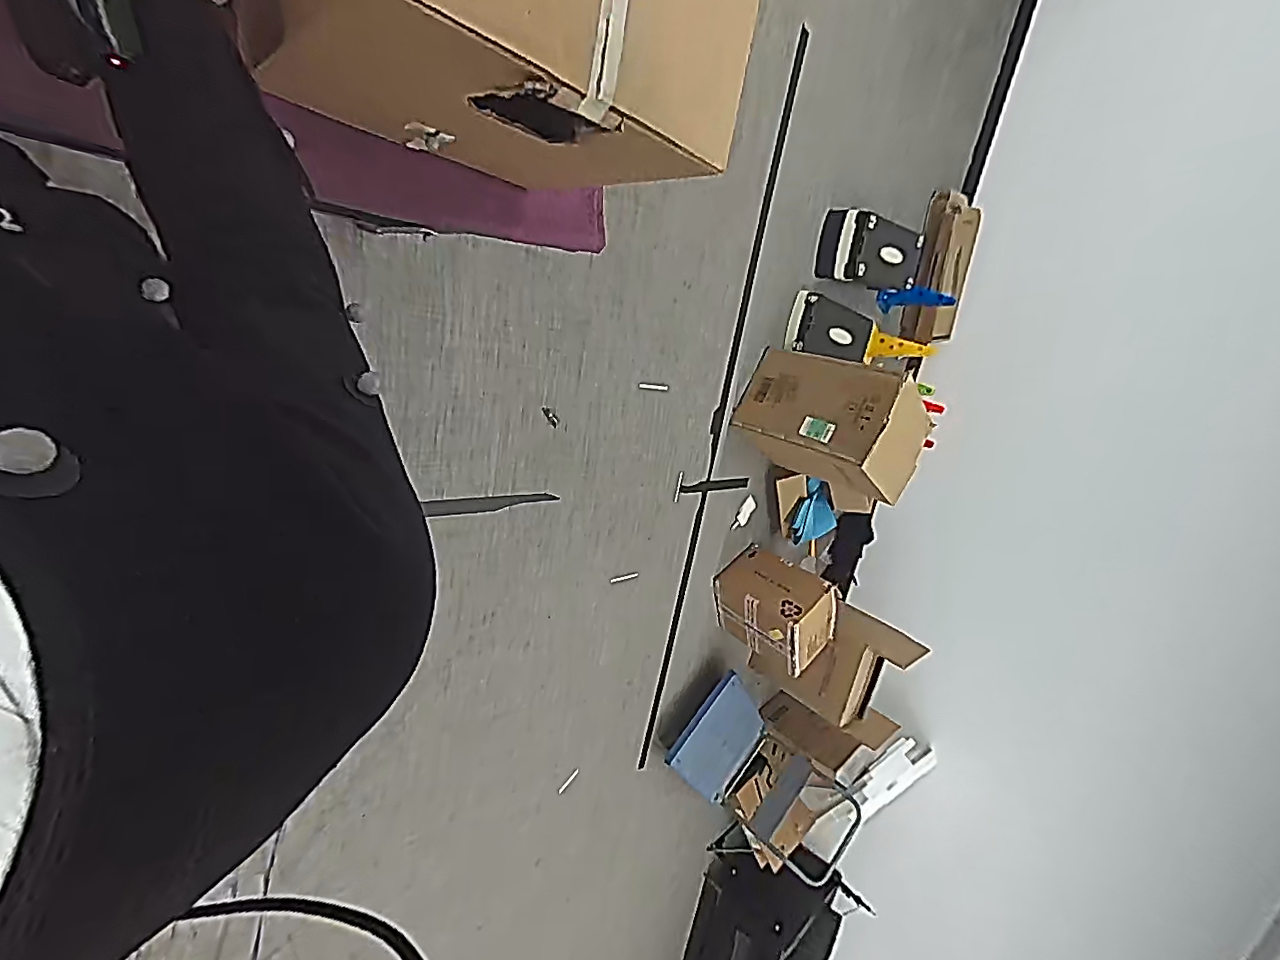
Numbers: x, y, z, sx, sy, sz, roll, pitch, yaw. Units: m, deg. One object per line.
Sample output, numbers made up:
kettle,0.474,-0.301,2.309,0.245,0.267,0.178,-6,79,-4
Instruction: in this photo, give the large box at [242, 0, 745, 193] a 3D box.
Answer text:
large box,-0.112,-0.496,0.433,0.320,0.320,0.408,-5,111,-45
